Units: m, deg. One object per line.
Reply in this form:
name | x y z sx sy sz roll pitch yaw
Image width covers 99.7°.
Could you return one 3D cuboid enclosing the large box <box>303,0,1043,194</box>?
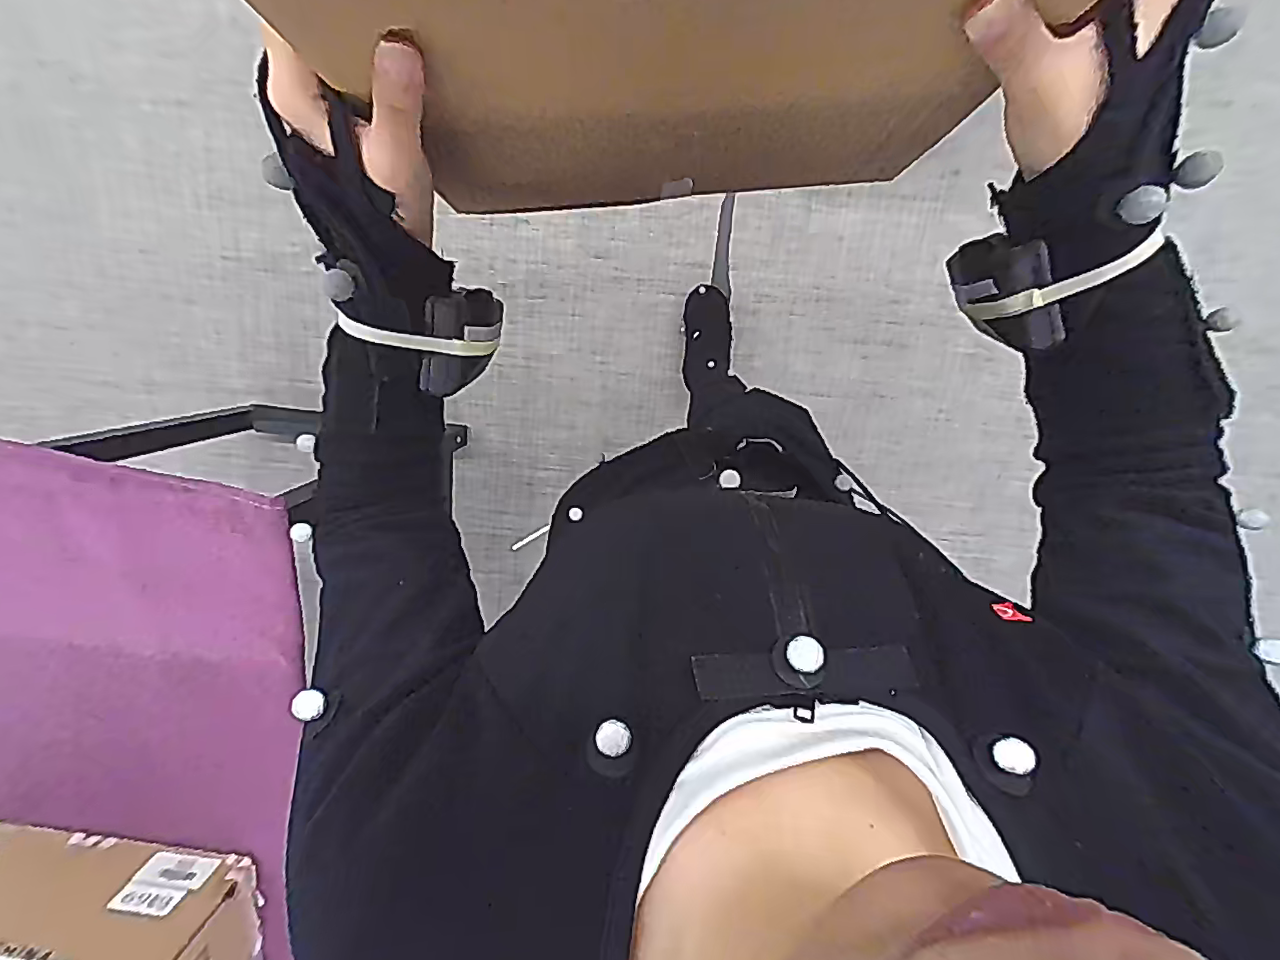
large box | 0.006 -0.386 0.203 0.320 0.320 0.408 -5 98 2
